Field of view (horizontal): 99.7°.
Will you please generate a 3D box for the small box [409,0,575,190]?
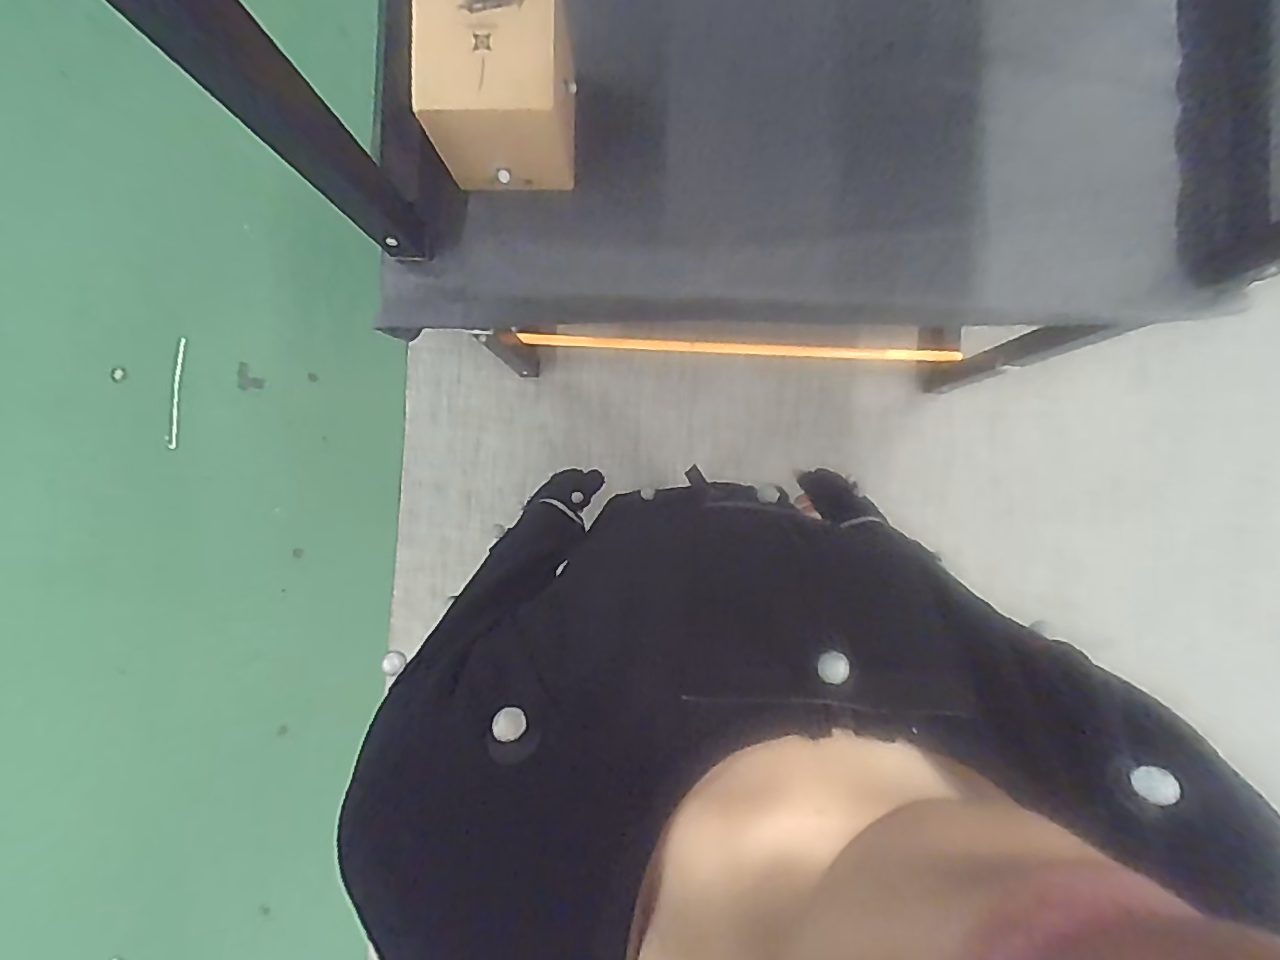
[{"bbox_3d":[-0.178,-0.505,0.694,0.168,0.176,0.179,0,89,1],"label":"small box"}]
